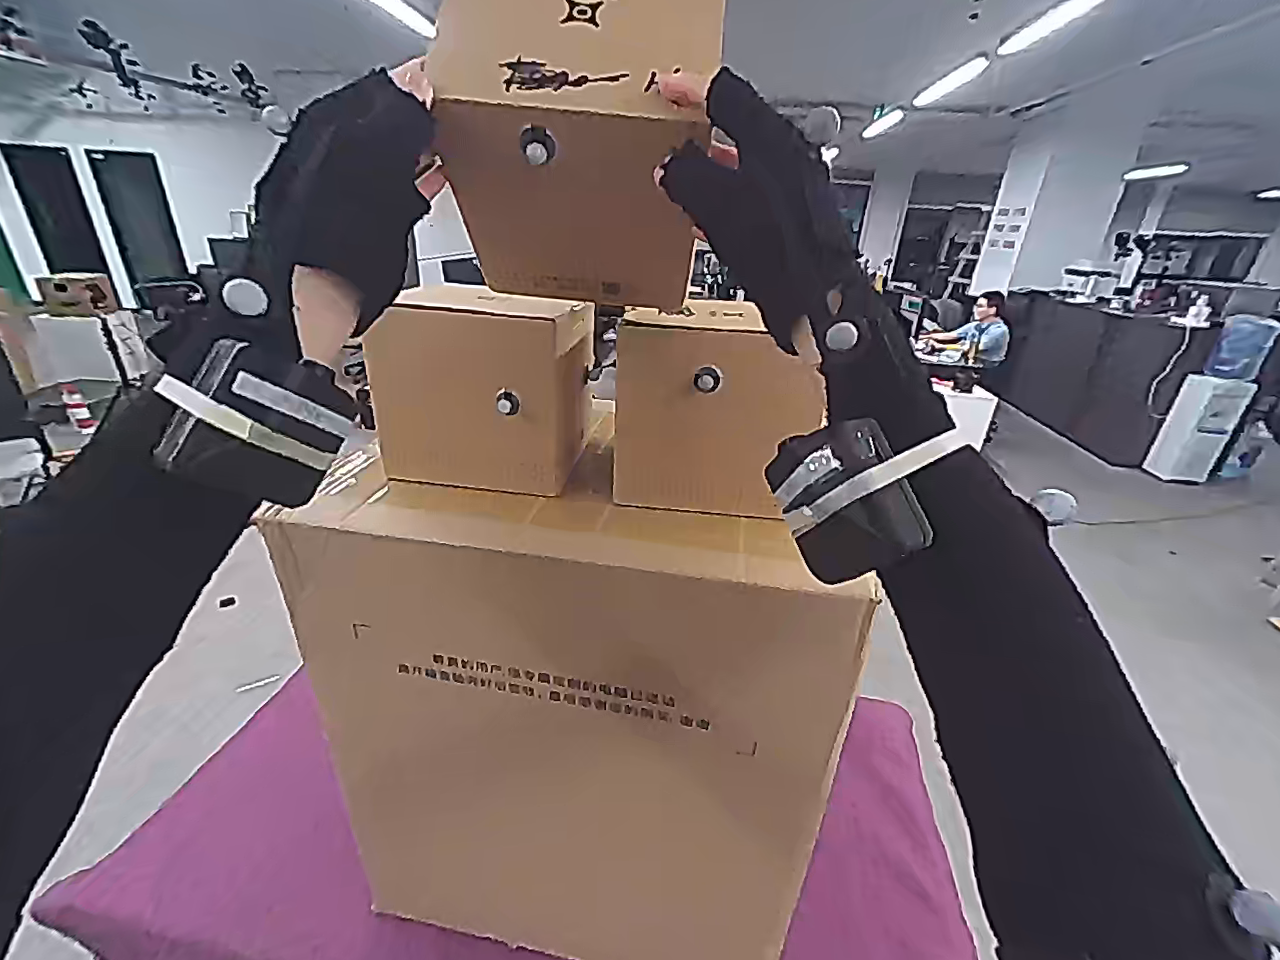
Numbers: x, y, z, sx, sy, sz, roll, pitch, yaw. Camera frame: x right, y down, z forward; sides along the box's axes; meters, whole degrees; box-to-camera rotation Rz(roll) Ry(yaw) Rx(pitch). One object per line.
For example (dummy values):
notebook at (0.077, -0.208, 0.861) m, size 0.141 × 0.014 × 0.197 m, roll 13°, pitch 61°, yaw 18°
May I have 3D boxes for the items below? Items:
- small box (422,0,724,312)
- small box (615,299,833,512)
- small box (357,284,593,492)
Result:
small box at (-0.035, -0.256, 0.402) m, size 0.168 × 0.176 × 0.179 m, roll 6°, pitch 69°, yaw 1°
small box at (0.072, -0.080, 0.533) m, size 0.179 × 0.176 × 0.168 m, roll 5°, pitch 25°, yaw 4°
small box at (-0.150, -0.099, 0.553) m, size 0.179 × 0.176 × 0.168 m, roll 5°, pitch 24°, yaw 4°
